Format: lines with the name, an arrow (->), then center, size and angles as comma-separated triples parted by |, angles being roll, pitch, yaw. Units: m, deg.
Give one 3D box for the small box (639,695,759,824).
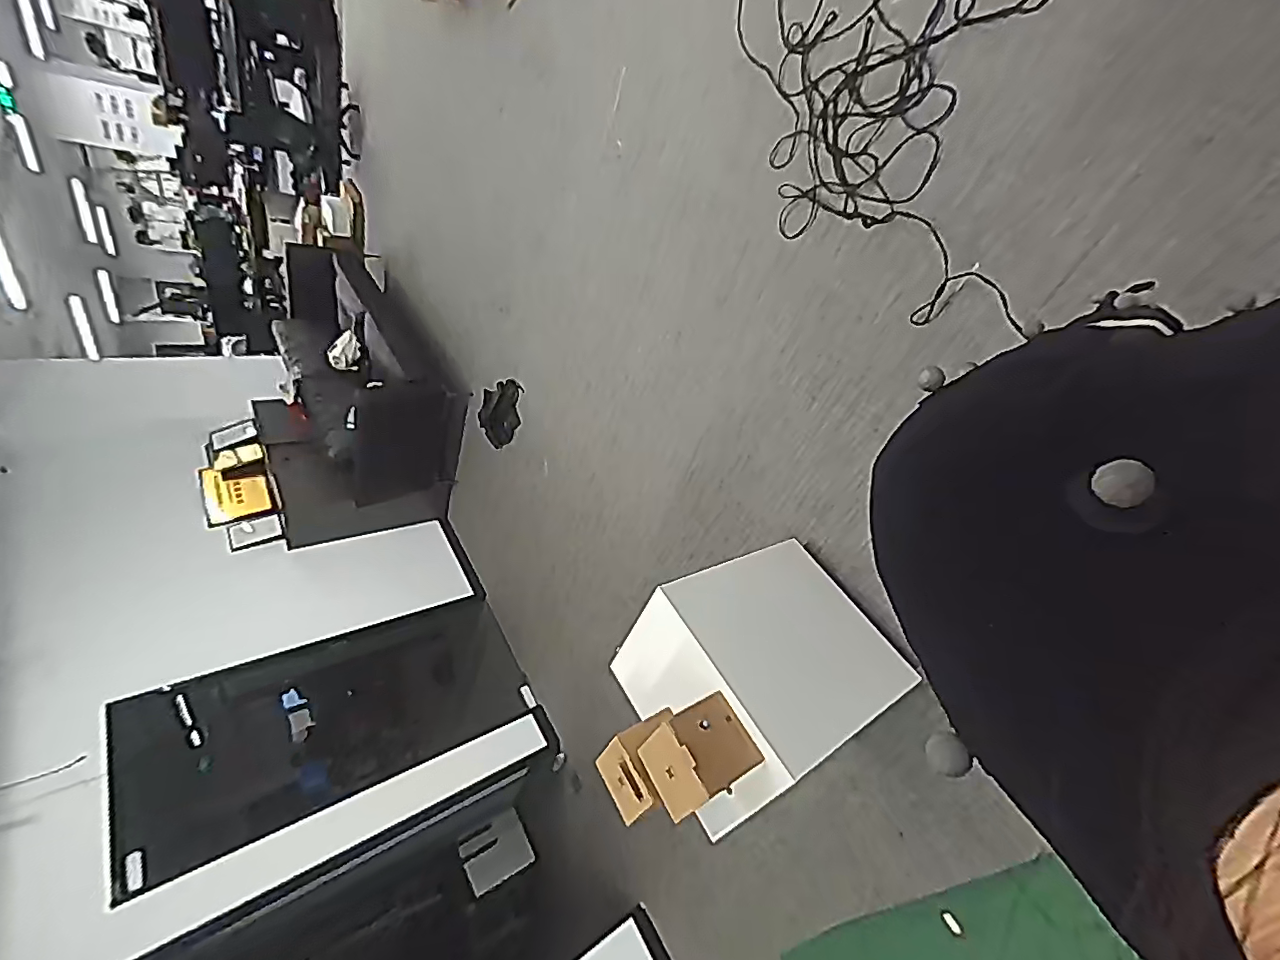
small box -> 0.130, 0.598, 1.171 | 0.168, 0.176, 0.179 | 55, 138, 31
